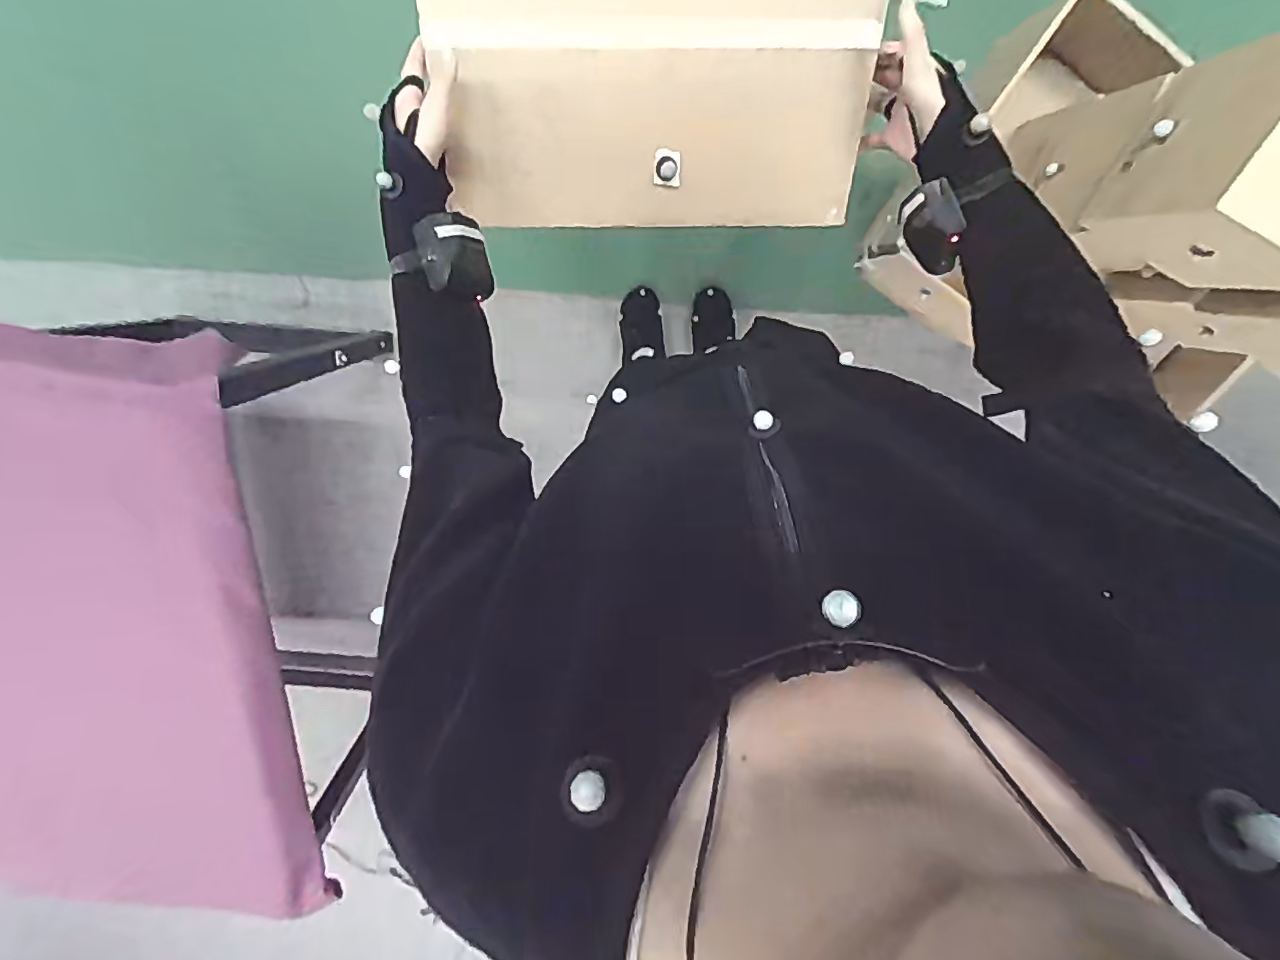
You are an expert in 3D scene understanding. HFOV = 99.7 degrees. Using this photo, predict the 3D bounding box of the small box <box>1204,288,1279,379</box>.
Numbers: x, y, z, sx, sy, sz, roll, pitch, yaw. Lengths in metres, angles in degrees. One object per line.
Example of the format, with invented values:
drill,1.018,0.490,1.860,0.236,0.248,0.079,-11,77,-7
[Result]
small box,0.795,-0.197,0.579,0.179,0.176,0.168,31,109,-7

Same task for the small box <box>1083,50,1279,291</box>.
small box,0.620,-0.302,0.541,0.179,0.176,0.168,24,108,-6
